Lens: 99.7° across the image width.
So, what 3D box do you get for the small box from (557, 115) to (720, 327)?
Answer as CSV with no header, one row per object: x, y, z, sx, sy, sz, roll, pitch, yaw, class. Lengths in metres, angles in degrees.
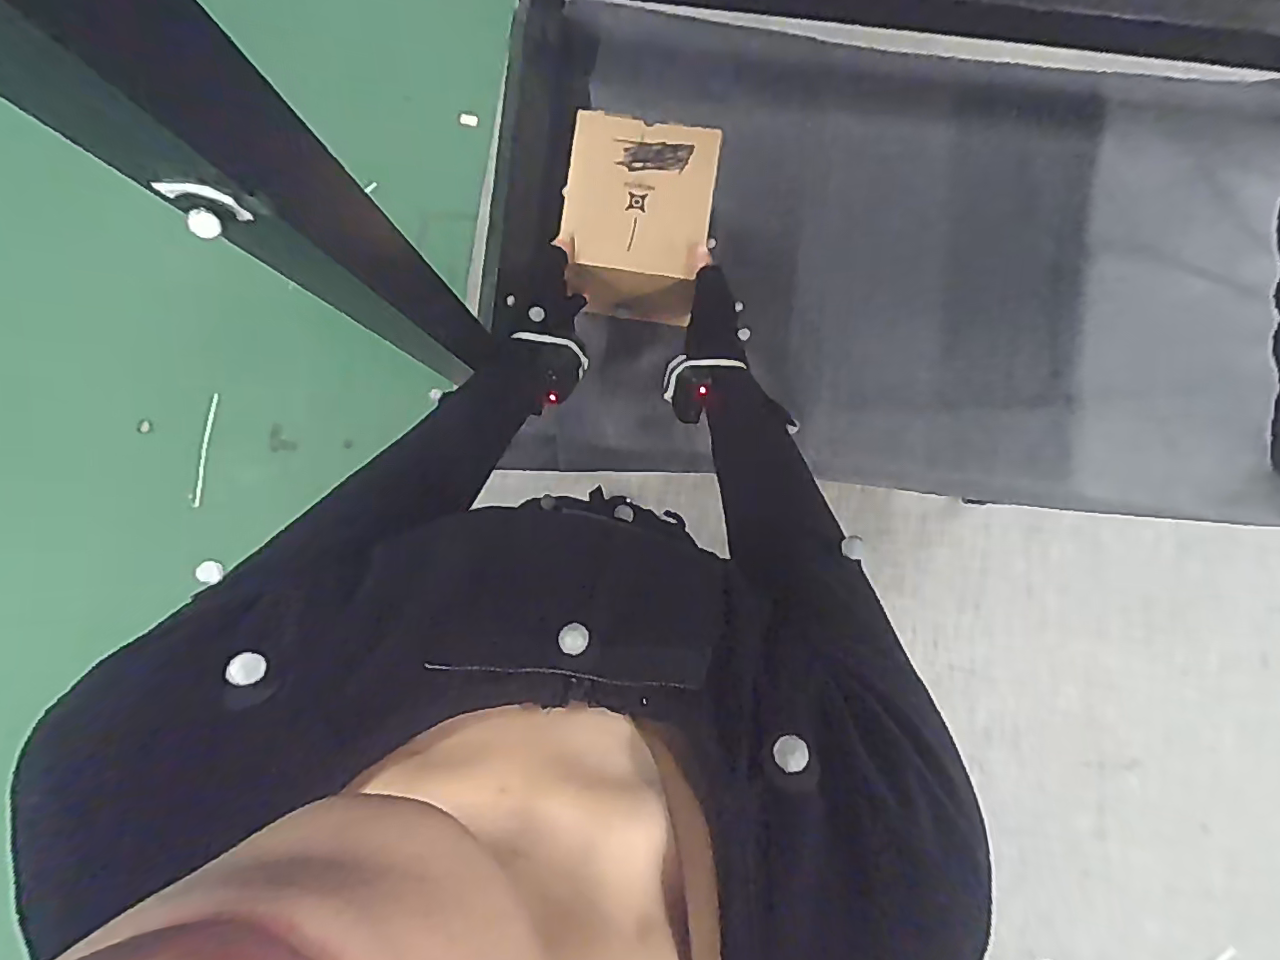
-0.003,-0.315,0.690,0.168,0.176,0.179,8,89,0,small box
